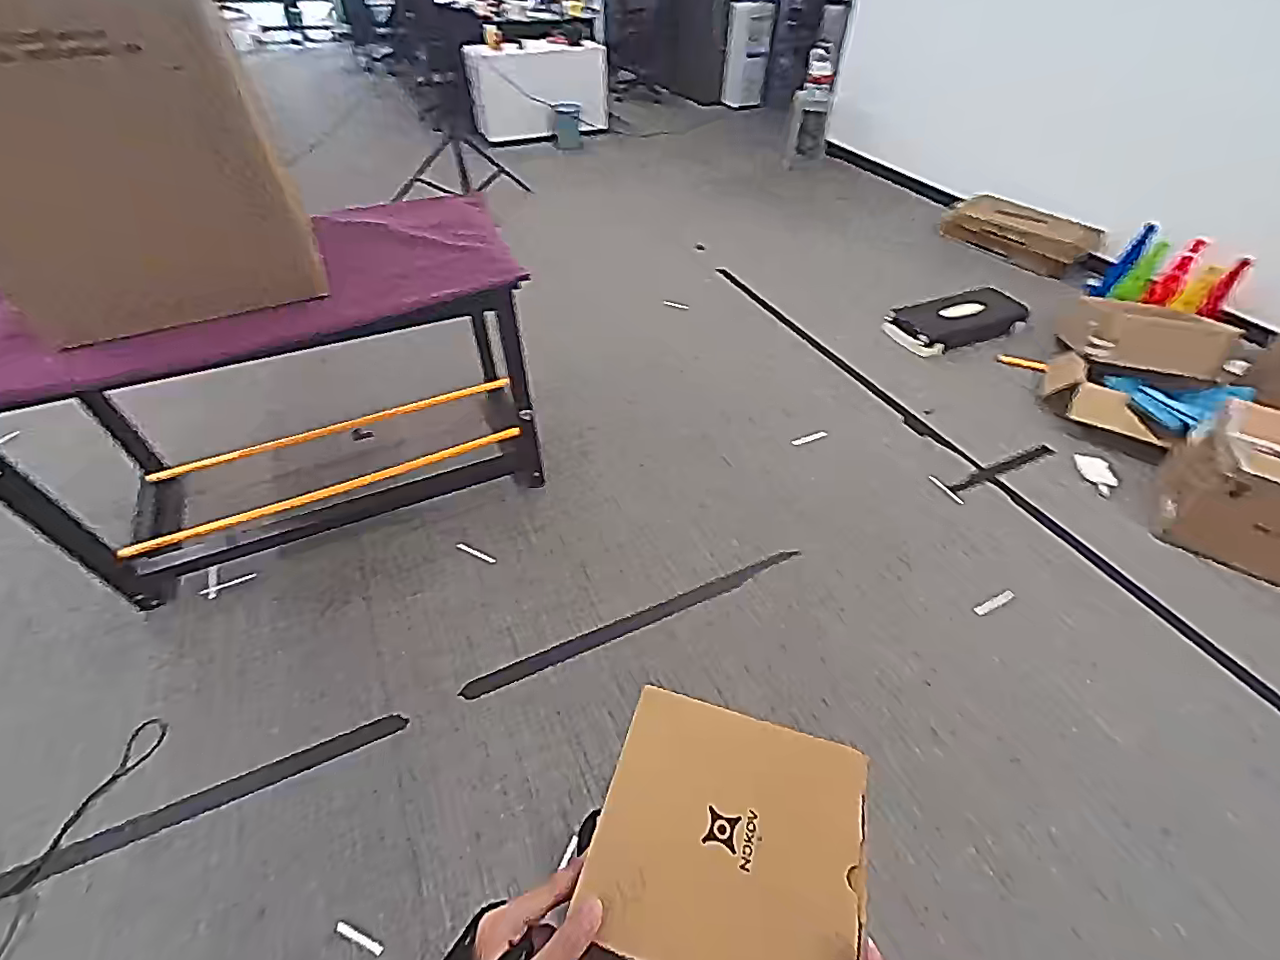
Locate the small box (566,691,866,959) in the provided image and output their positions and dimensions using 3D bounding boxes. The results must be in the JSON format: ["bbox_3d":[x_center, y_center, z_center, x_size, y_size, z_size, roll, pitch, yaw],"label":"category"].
[{"bbox_3d":[0.063,0.299,0.420,0.179,0.176,0.168,12,45,14],"label":"small box"}]
